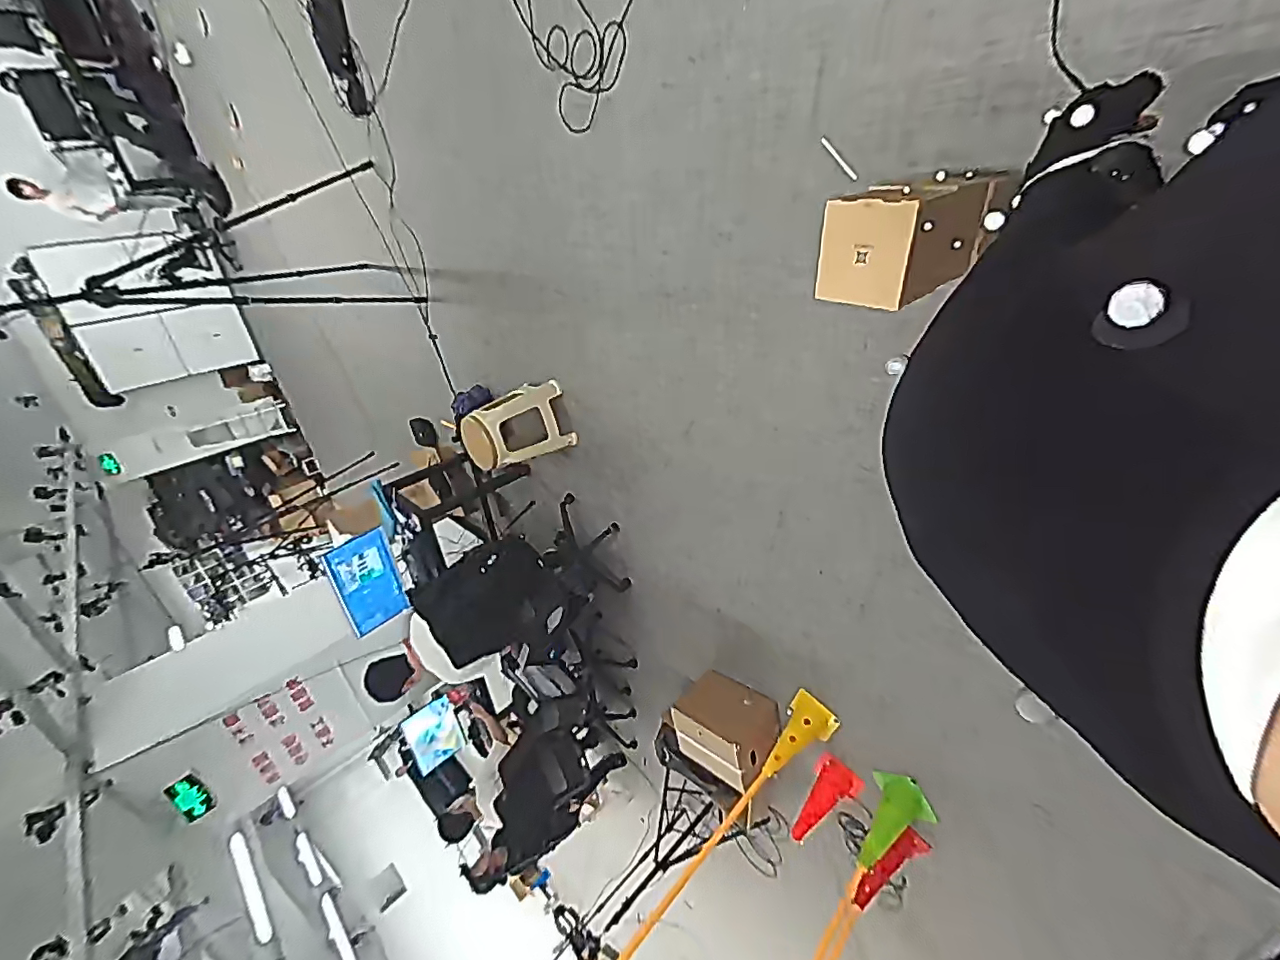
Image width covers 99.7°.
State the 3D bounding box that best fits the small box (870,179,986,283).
[{"bbox_3d":[0.569,-0.505,1.096,0.168,0.176,0.179,26,132,39],"label":"small box"}]

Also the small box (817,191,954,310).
[{"bbox_3d":[0.455,-0.432,1.006,0.168,0.176,0.179,26,131,39],"label":"small box"}]

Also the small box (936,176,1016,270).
[{"bbox_3d":[0.690,-0.568,1.187,0.179,0.176,0.168,25,131,39],"label":"small box"}]
